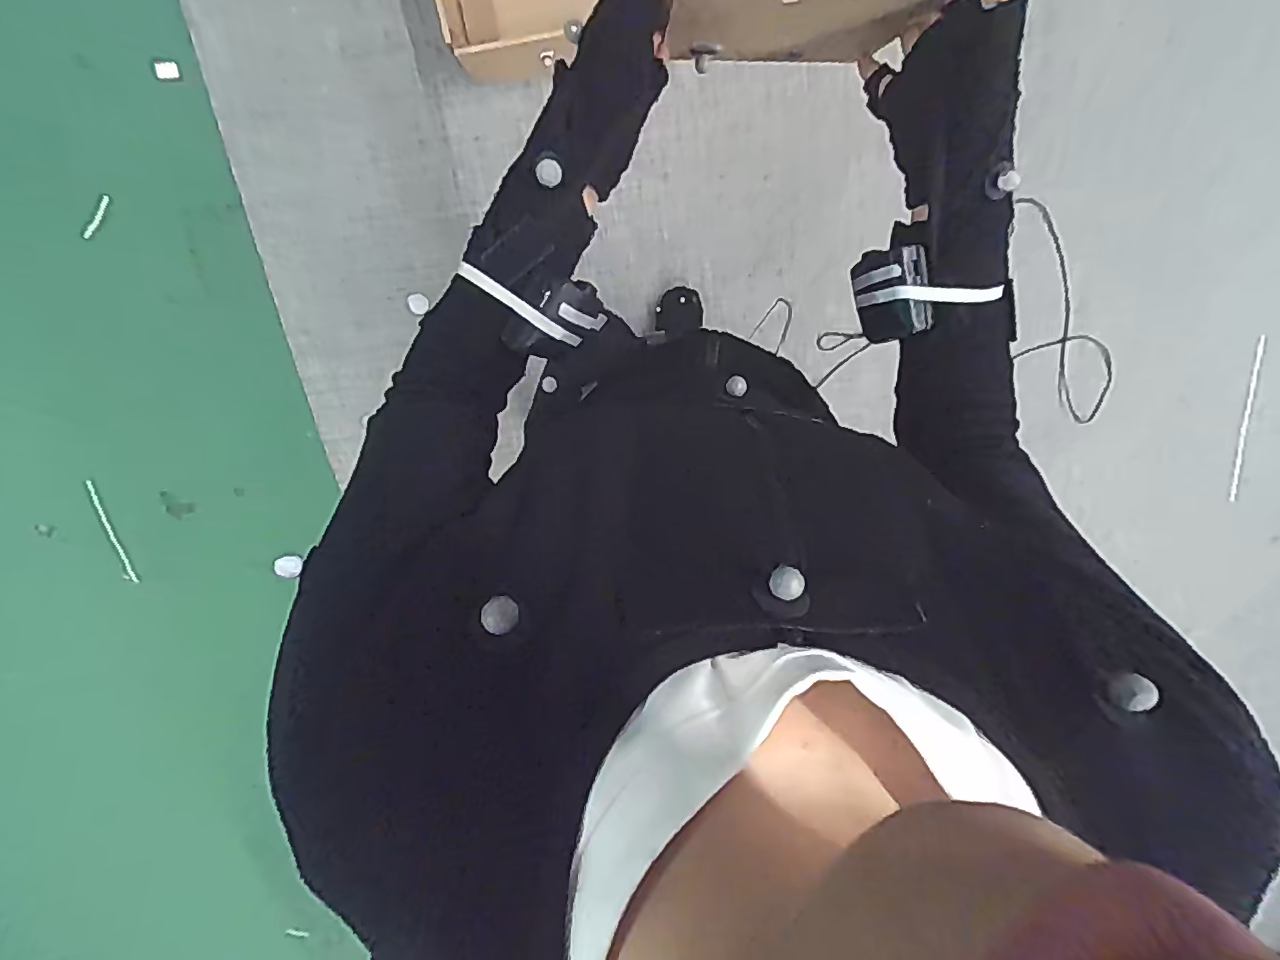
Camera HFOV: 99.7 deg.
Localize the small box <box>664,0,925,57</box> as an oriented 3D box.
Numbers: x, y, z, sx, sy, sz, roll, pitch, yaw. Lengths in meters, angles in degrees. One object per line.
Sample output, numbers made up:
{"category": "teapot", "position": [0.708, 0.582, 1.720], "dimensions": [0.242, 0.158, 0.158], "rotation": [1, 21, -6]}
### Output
{"category": "small box", "position": [0.103, -0.378, 0.320], "dimensions": [0.168, 0.176, 0.179], "rotation": [-1, 114, -2]}
